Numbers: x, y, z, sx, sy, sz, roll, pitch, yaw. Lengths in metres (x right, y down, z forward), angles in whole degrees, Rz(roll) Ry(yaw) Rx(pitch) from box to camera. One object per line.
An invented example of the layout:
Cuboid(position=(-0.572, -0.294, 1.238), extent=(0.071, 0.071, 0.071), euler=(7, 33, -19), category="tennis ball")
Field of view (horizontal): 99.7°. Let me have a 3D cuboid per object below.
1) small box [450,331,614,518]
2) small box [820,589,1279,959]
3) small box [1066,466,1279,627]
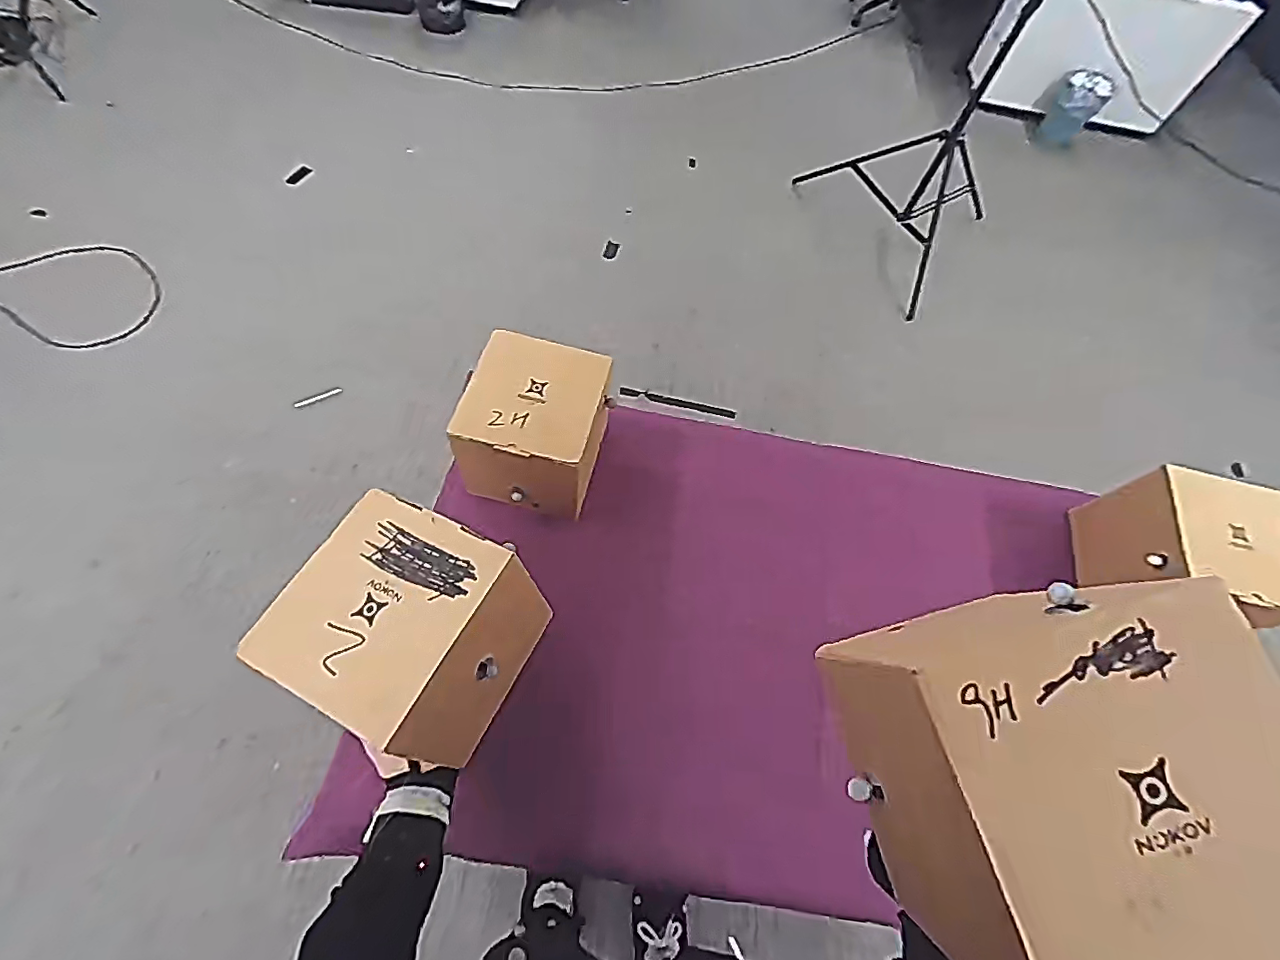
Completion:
Cuboid(position=(-0.141, -0.071, 0.755), extent=(0.168, 0.176, 0.179), euler=(14, 63, 0), category="small box")
Cuboid(position=(0.233, 0.172, 0.326), extent=(0.168, 0.176, 0.179), euler=(-15, 76, -3), category="small box")
Cuboid(position=(0.757, 0.108, 0.775), extent=(0.168, 0.176, 0.179), euler=(14, 65, 1), category="small box")
